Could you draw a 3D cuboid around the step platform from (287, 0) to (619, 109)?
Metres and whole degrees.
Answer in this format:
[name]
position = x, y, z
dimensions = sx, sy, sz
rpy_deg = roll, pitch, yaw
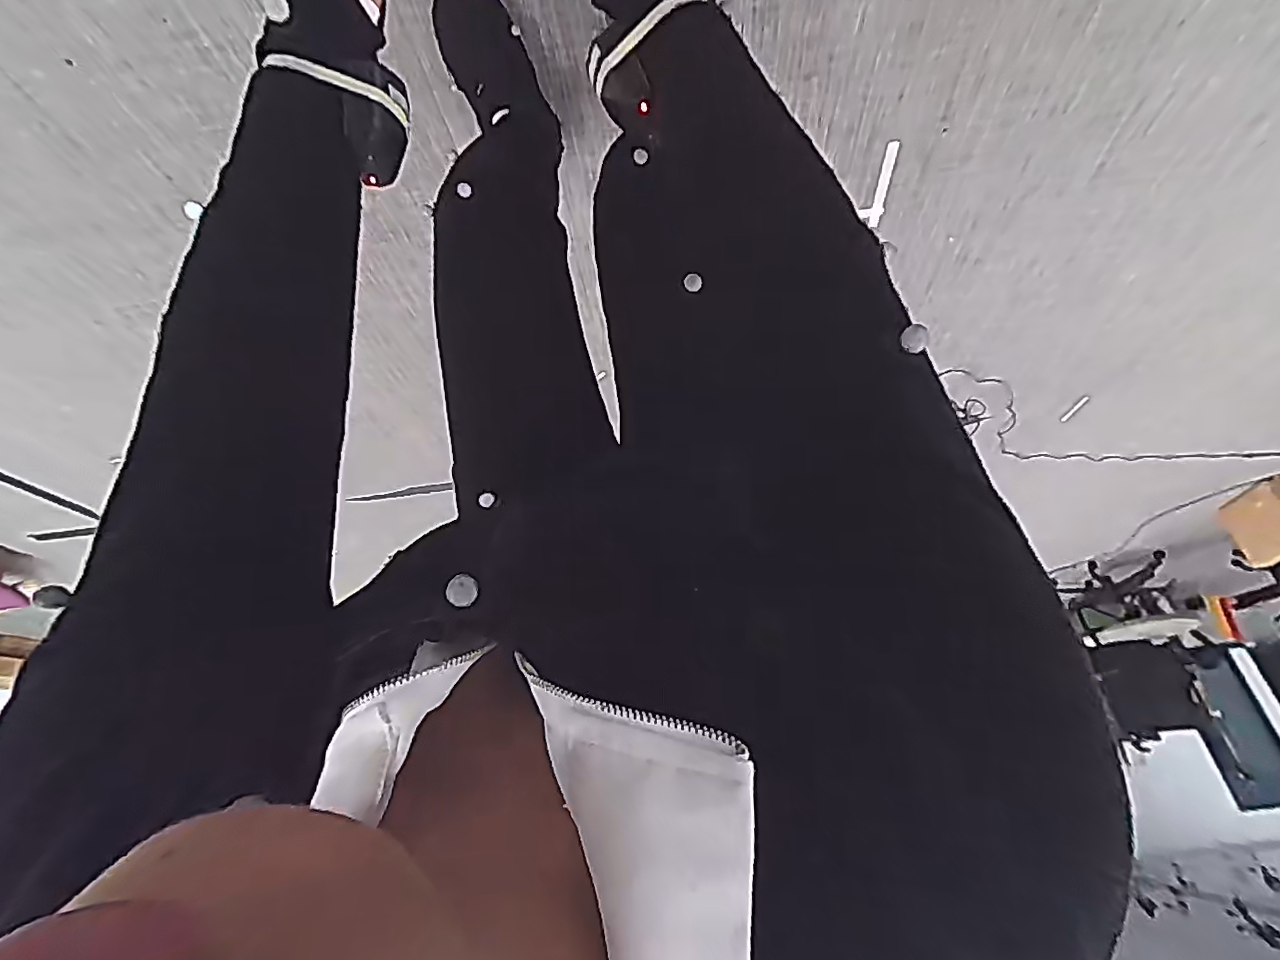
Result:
[step platform]
position = 0.043, -0.525, 0.398
dimensions = 0.684, 0.204, 0.286
rpy_deg = -9, 151, 4
